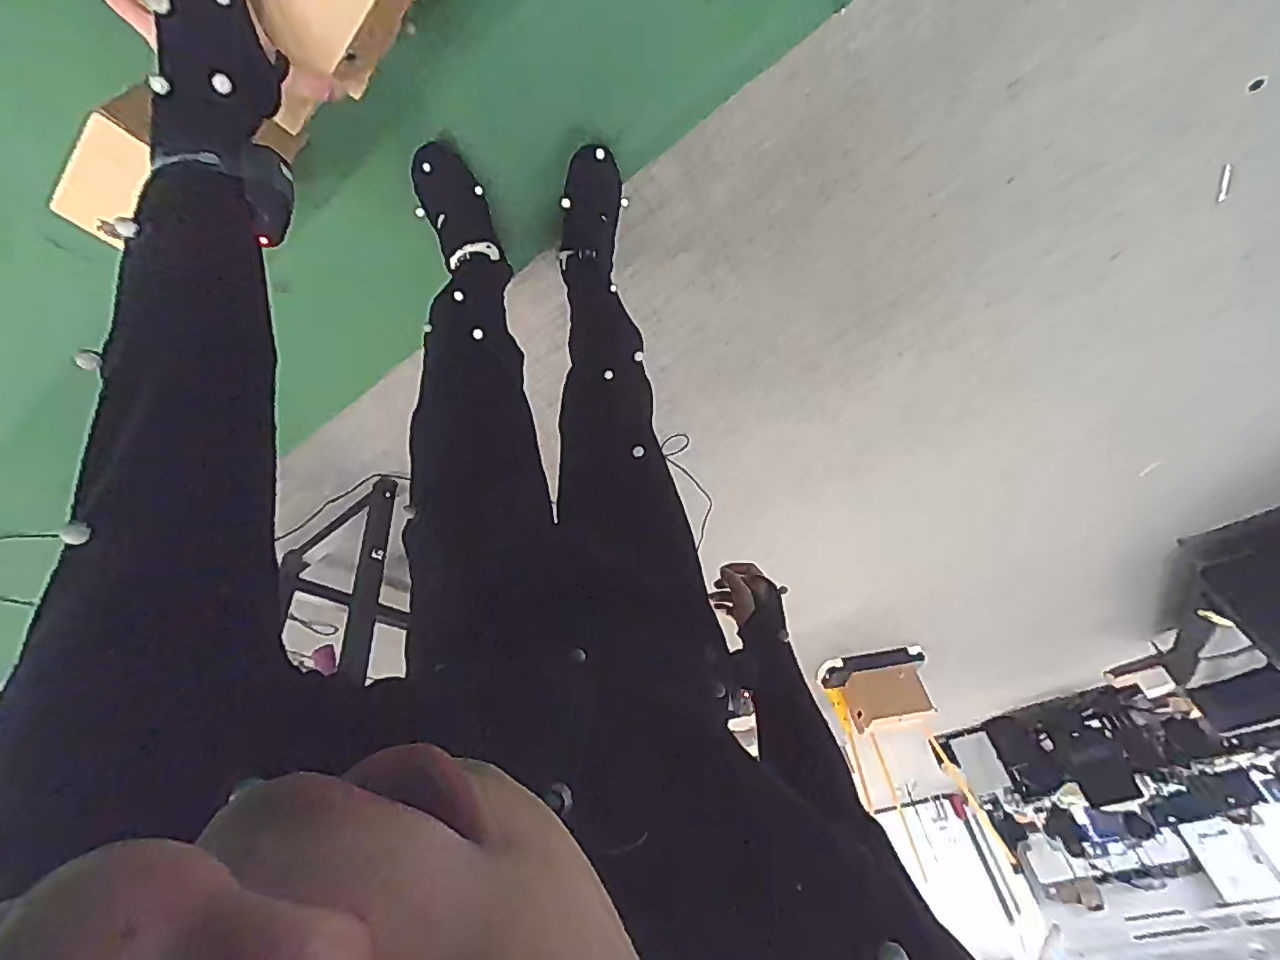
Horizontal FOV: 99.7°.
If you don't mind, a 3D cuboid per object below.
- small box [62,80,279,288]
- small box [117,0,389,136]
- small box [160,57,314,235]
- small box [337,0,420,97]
[{"bbox_3d":[-0.658,-0.426,0.781,0.179,0.176,0.168,-32,135,25],"label":"small box"},{"bbox_3d":[-0.348,-0.485,0.511,0.179,0.176,0.168,-34,135,27],"label":"small box"},{"bbox_3d":[-0.675,-0.552,0.884,0.168,0.176,0.179,-30,136,23],"label":"small box"},{"bbox_3d":[-0.358,-0.604,0.627,0.168,0.176,0.179,-36,135,29],"label":"small box"}]
